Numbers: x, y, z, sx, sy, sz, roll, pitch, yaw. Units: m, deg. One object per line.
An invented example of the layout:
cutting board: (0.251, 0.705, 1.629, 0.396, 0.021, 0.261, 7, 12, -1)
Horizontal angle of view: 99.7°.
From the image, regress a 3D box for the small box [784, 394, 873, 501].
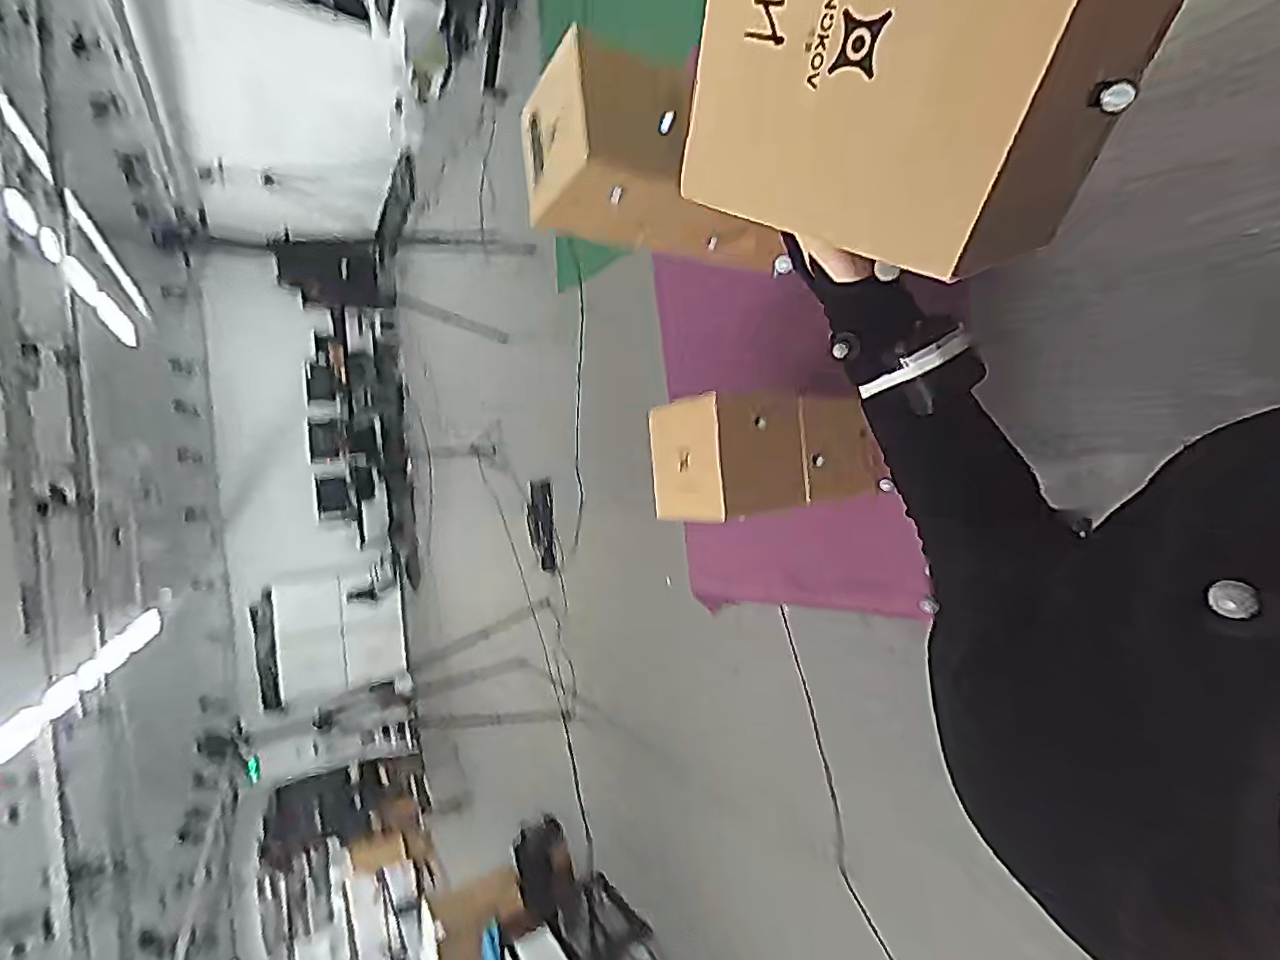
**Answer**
small box: (0.272, -0.052, 0.937, 0.179, 0.176, 0.168, -5, 90, 58)

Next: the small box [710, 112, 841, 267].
small box: (0.229, -0.486, 0.941, 0.168, 0.176, 0.179, -7, 88, 57)

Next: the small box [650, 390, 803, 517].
small box: (0.135, -0.040, 0.848, 0.168, 0.176, 0.179, -3, 92, 57)

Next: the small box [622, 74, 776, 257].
small box: (0.093, -0.477, 0.852, 0.168, 0.176, 0.179, -8, 88, 57)
